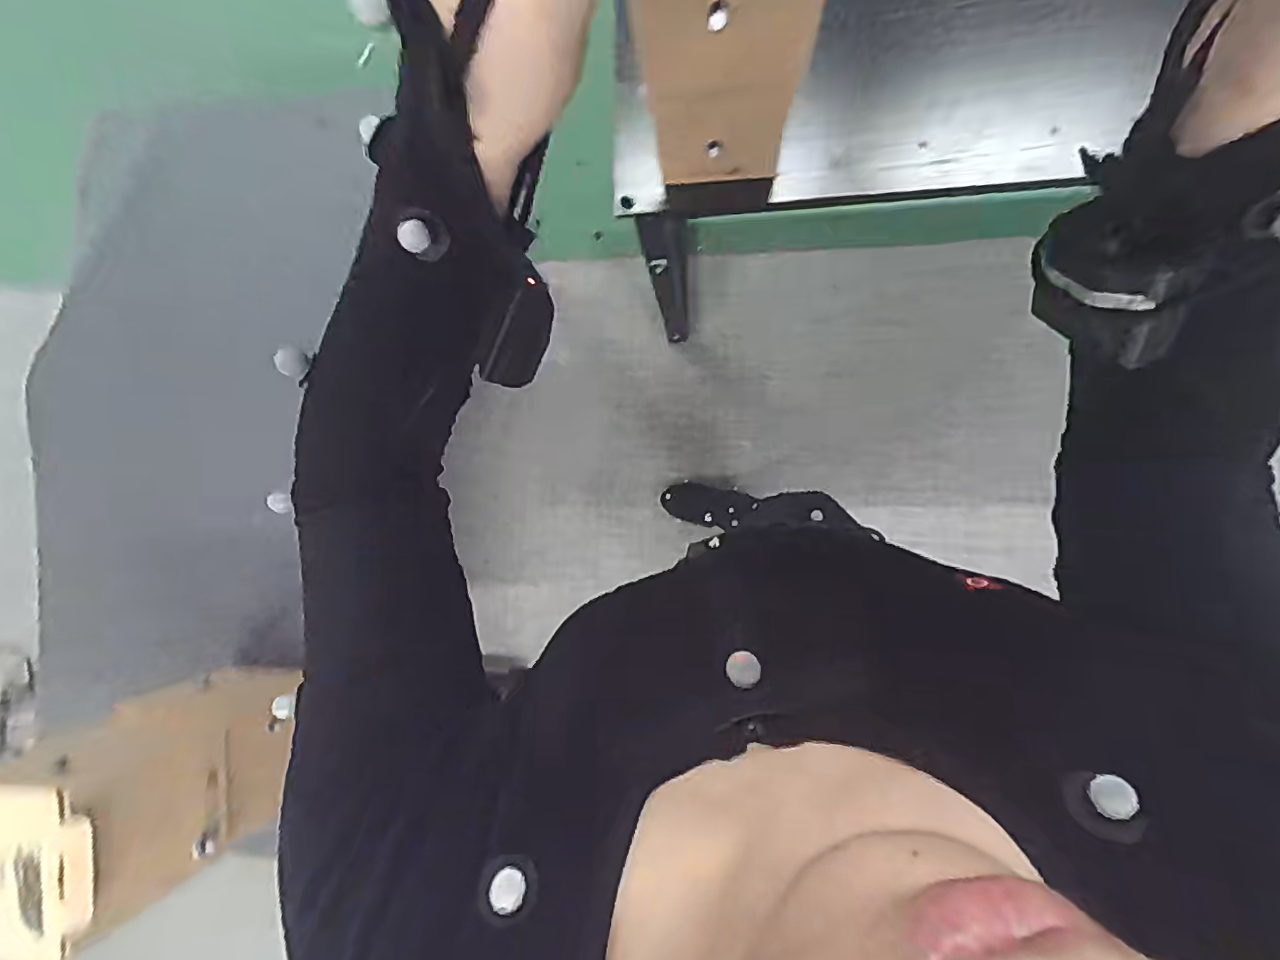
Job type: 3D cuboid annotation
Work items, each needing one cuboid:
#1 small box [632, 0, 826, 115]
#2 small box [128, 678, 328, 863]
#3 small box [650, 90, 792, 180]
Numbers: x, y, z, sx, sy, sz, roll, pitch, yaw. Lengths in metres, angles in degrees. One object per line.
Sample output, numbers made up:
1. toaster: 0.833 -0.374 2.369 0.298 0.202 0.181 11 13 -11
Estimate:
1. small box: 0.087 -0.504 0.539 0.179 0.176 0.168 -1 88 8
2. small box: -0.573 0.395 0.768 0.168 0.176 0.179 -1 88 11
3. small box: 0.104 -0.515 0.701 0.168 0.176 0.179 0 88 7
